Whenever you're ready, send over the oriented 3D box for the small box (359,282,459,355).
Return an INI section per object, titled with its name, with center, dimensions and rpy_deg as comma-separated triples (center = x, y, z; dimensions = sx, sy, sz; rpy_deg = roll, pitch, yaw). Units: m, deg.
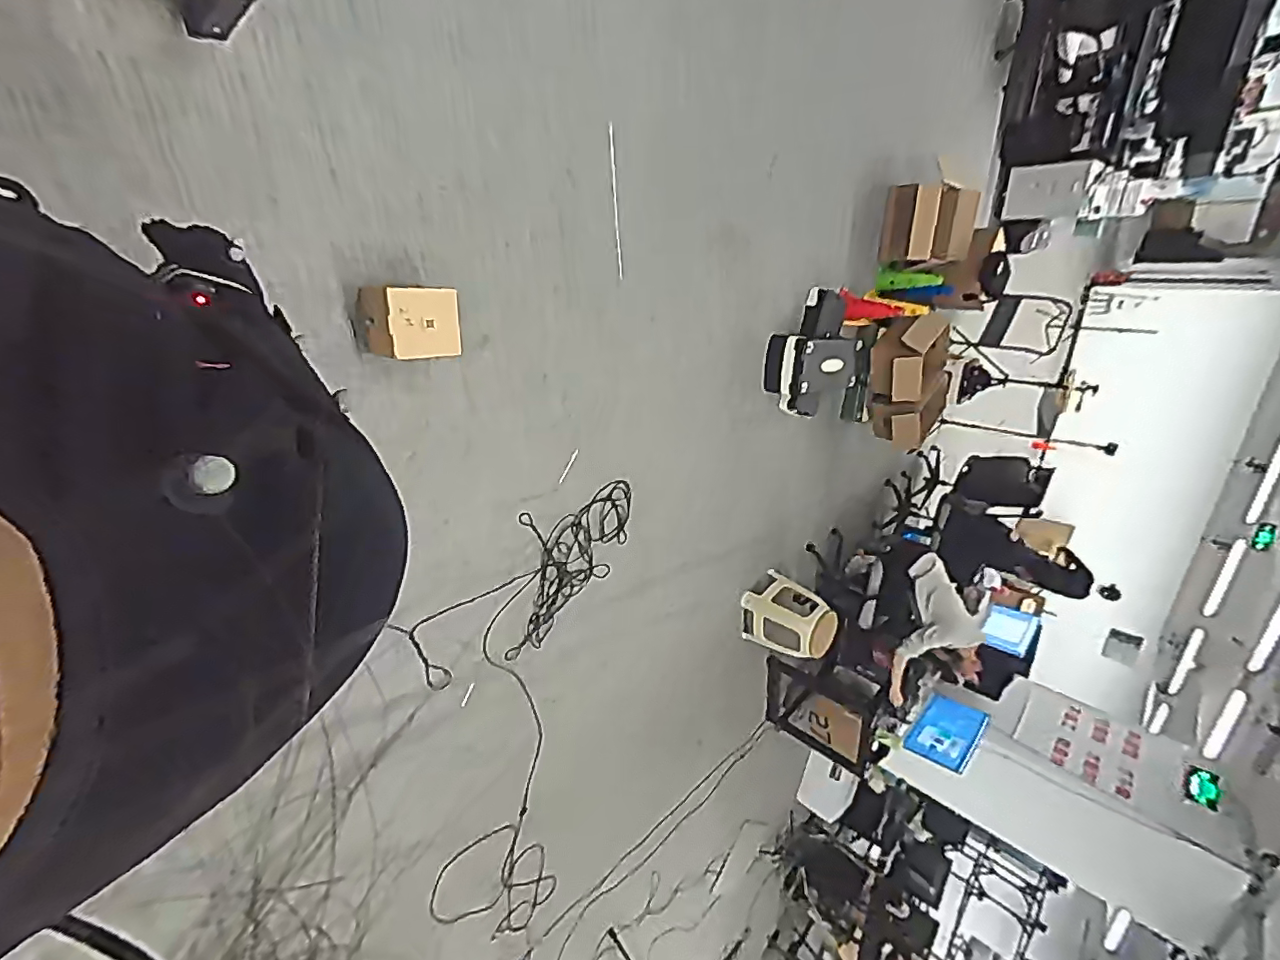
[small box]
center = -0.586, -0.414, 1.377
dimensions = 0.179, 0.176, 0.168
rpy_deg = -18, 117, -42
